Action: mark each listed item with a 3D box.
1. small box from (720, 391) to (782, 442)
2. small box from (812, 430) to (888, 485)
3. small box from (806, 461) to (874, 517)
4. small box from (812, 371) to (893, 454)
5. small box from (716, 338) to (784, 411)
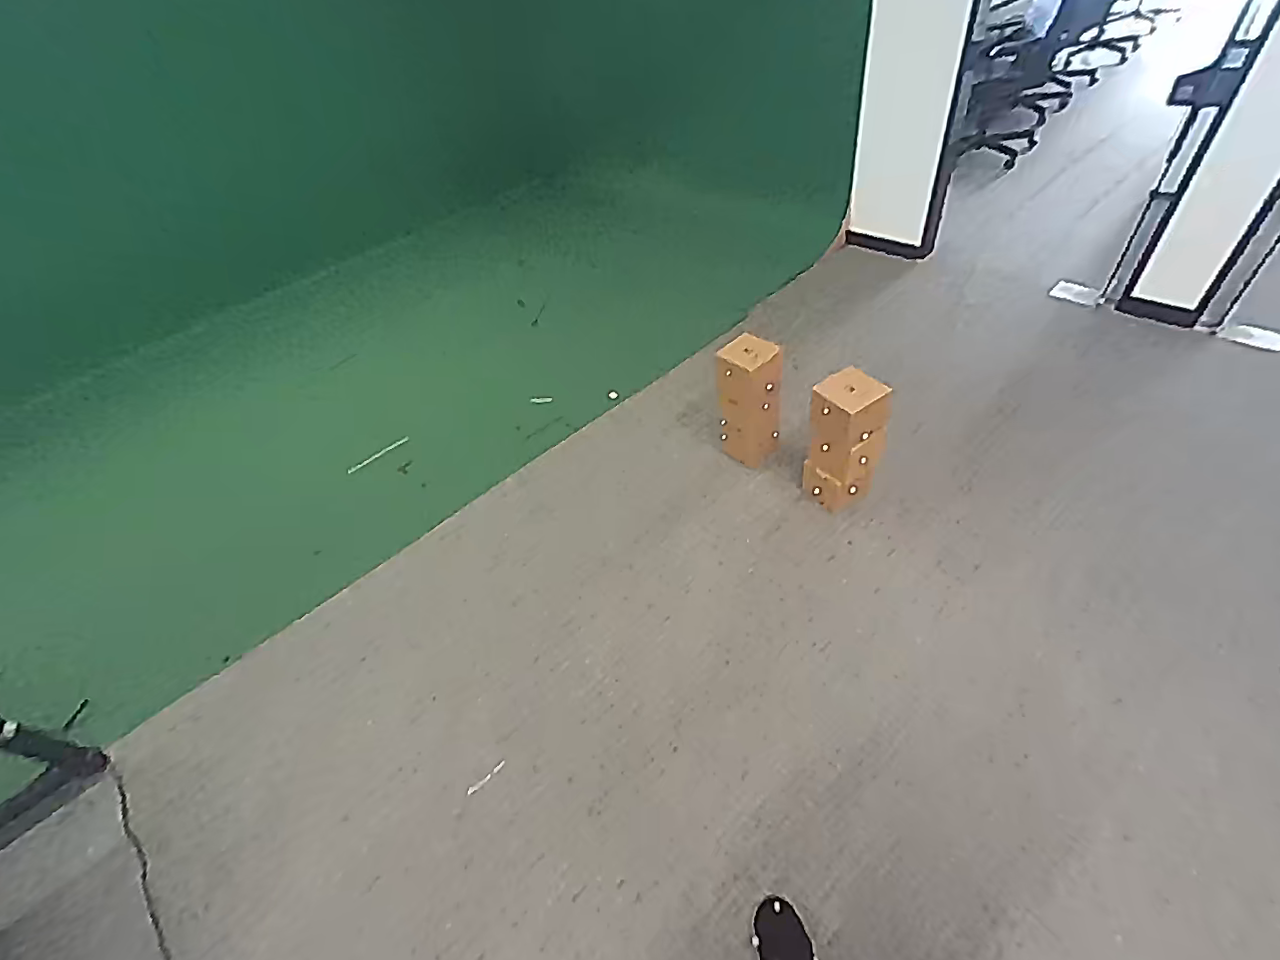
[{"bbox_3d":[0.428,-0.275,2.069,0.179,0.176,0.168,-38,51,-23],"label":"small box"},{"bbox_3d":[0.710,-0.107,1.847,0.168,0.176,0.179,-32,48,-17],"label":"small box"},{"bbox_3d":[0.726,0.002,1.967,0.179,0.176,0.168,-32,49,-15],"label":"small box"},{"bbox_3d":[0.671,-0.214,1.729,0.168,0.176,0.179,-29,48,-13],"label":"small box"},{"bbox_3d":[0.396,-0.377,1.942,0.168,0.176,0.179,-38,51,-21],"label":"small box"}]
